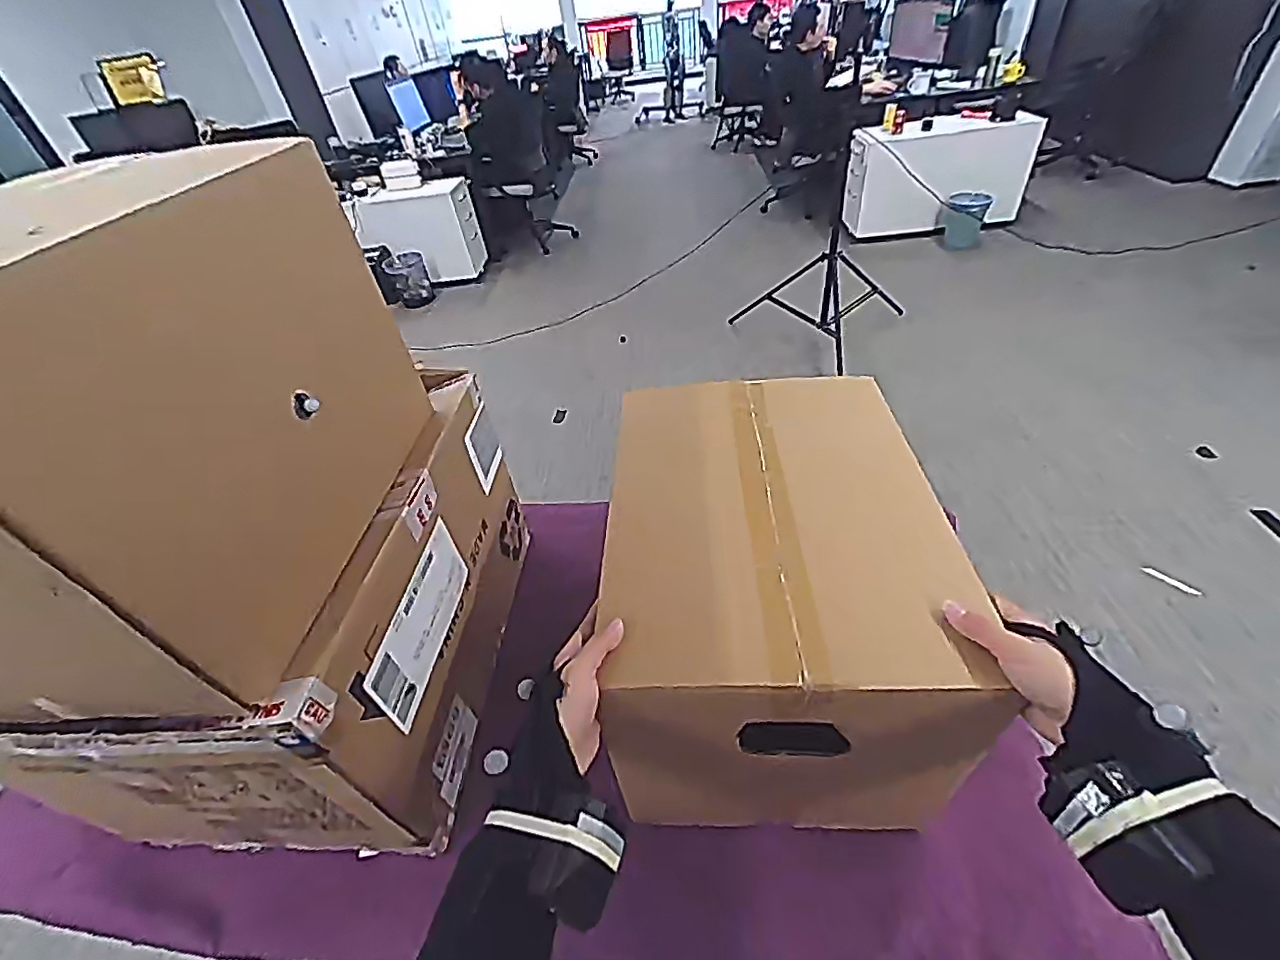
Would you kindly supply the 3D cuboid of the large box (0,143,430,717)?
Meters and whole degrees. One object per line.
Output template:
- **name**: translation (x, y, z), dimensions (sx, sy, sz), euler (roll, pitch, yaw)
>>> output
- **large box**: translation (-0.434, -0.059, 0.471), dimensions (0.320, 0.320, 0.408), euler (-5, 42, 6)
